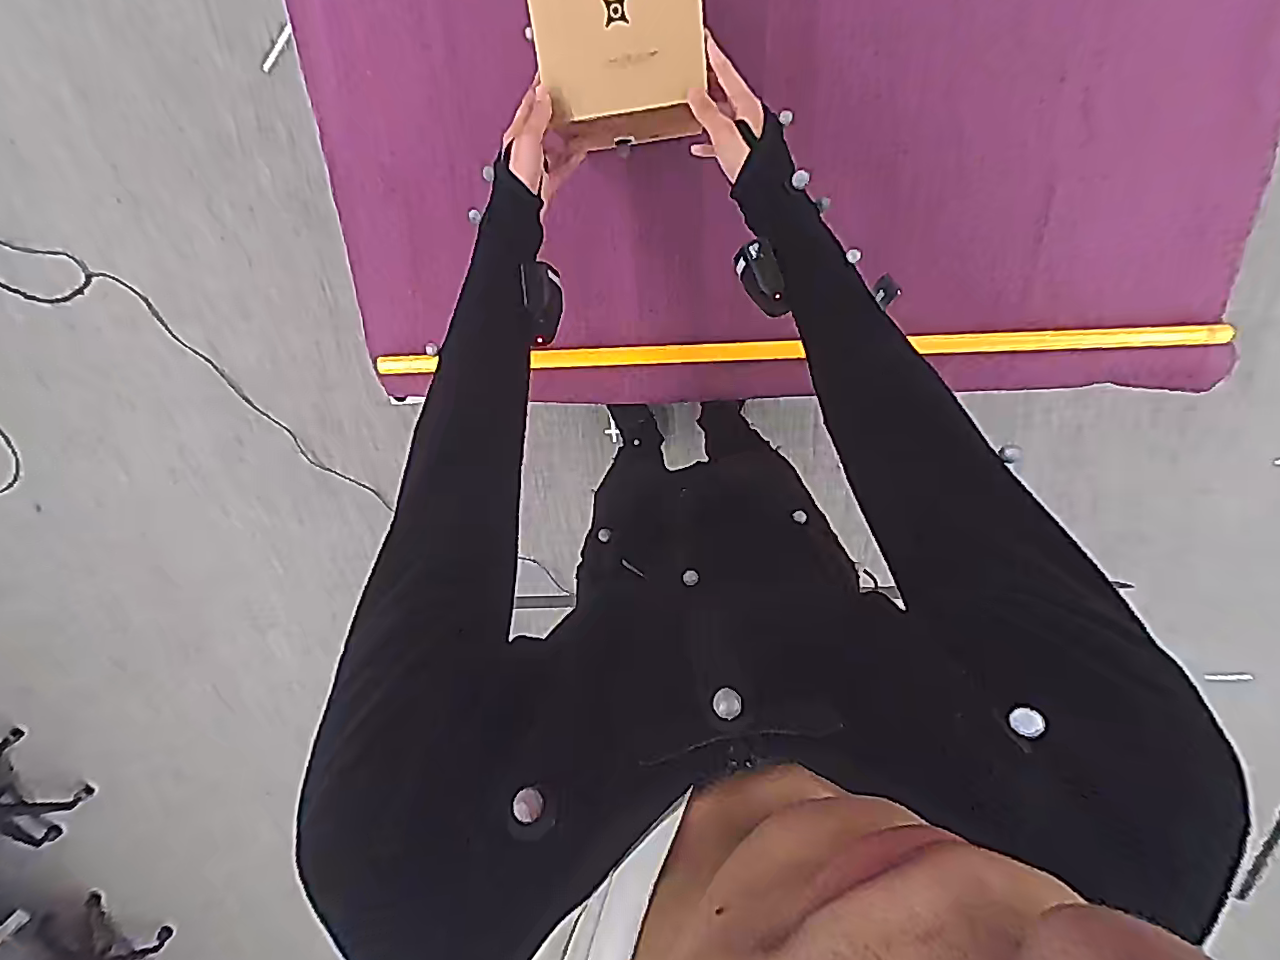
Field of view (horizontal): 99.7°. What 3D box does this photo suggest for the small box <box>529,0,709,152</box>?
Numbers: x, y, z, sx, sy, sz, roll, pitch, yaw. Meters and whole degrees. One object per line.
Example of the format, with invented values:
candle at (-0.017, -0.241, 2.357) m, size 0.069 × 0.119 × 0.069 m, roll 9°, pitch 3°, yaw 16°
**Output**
small box at (-0.019, -0.478, 0.580) m, size 0.168 × 0.176 × 0.179 m, roll -6°, pitch 111°, yaw 6°
